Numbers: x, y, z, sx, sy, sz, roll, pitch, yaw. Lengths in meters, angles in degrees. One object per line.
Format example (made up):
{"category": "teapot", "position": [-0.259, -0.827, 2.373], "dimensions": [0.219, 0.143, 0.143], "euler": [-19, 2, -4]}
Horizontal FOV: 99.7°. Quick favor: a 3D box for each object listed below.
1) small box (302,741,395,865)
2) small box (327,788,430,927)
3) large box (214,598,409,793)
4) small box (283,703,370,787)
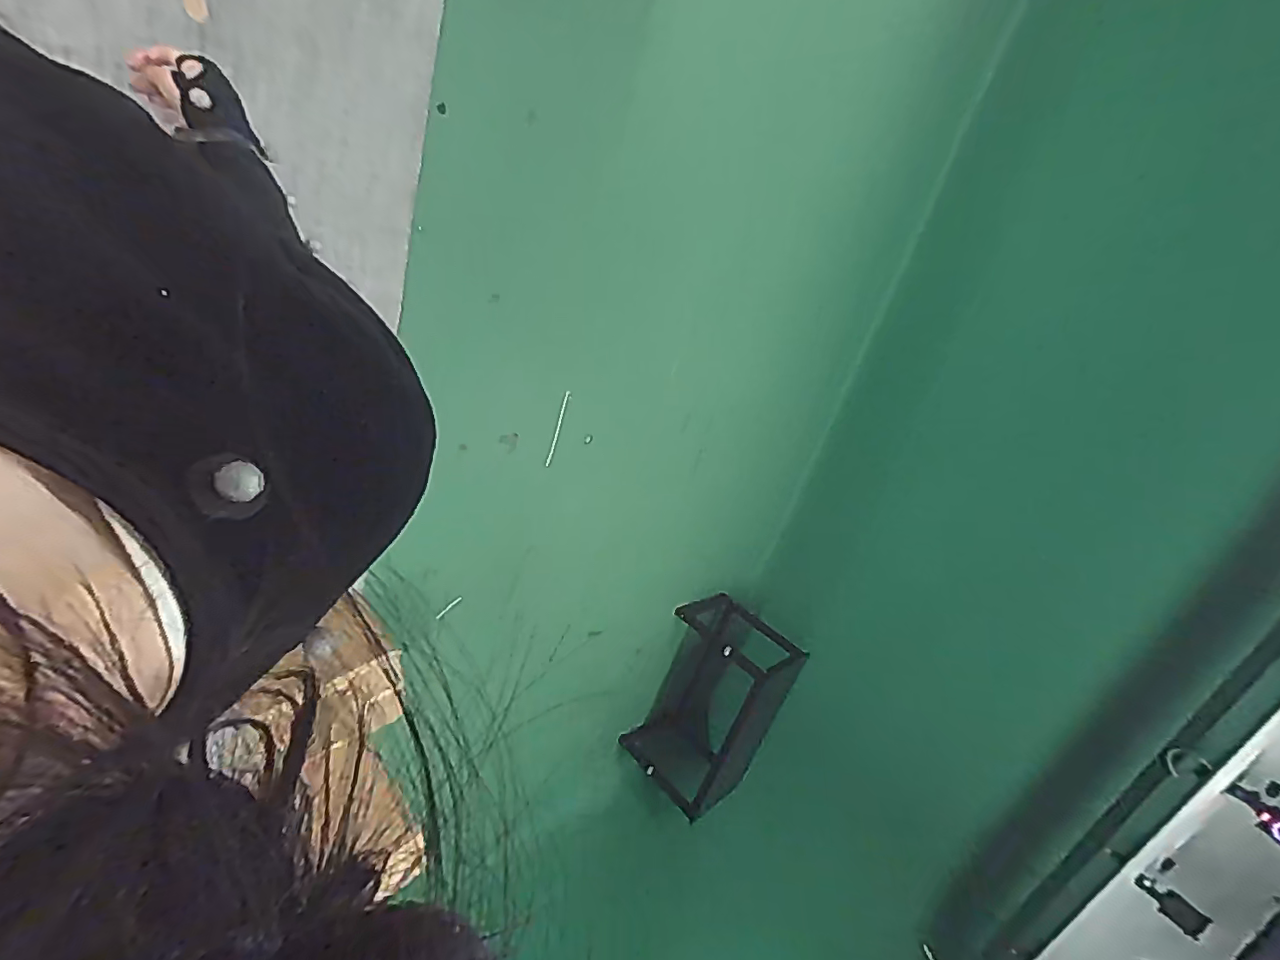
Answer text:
{"category": "small box", "position": [-0.741, 0.819, 1.385], "dimensions": [0.179, 0.176, 0.168], "euler": [-22, 131, -39]}
{"category": "small box", "position": [-0.627, 0.893, 1.293], "dimensions": [0.179, 0.176, 0.168], "euler": [-20, 131, -38]}
{"category": "large box", "position": [-0.988, 0.635, 1.656], "dimensions": [0.408, 0.320, 0.320], "euler": [-23, 133, -40]}
{"category": "small box", "position": [-0.850, 0.744, 1.481], "dimensions": [0.168, 0.176, 0.179], "euler": [-21, 131, -39]}
